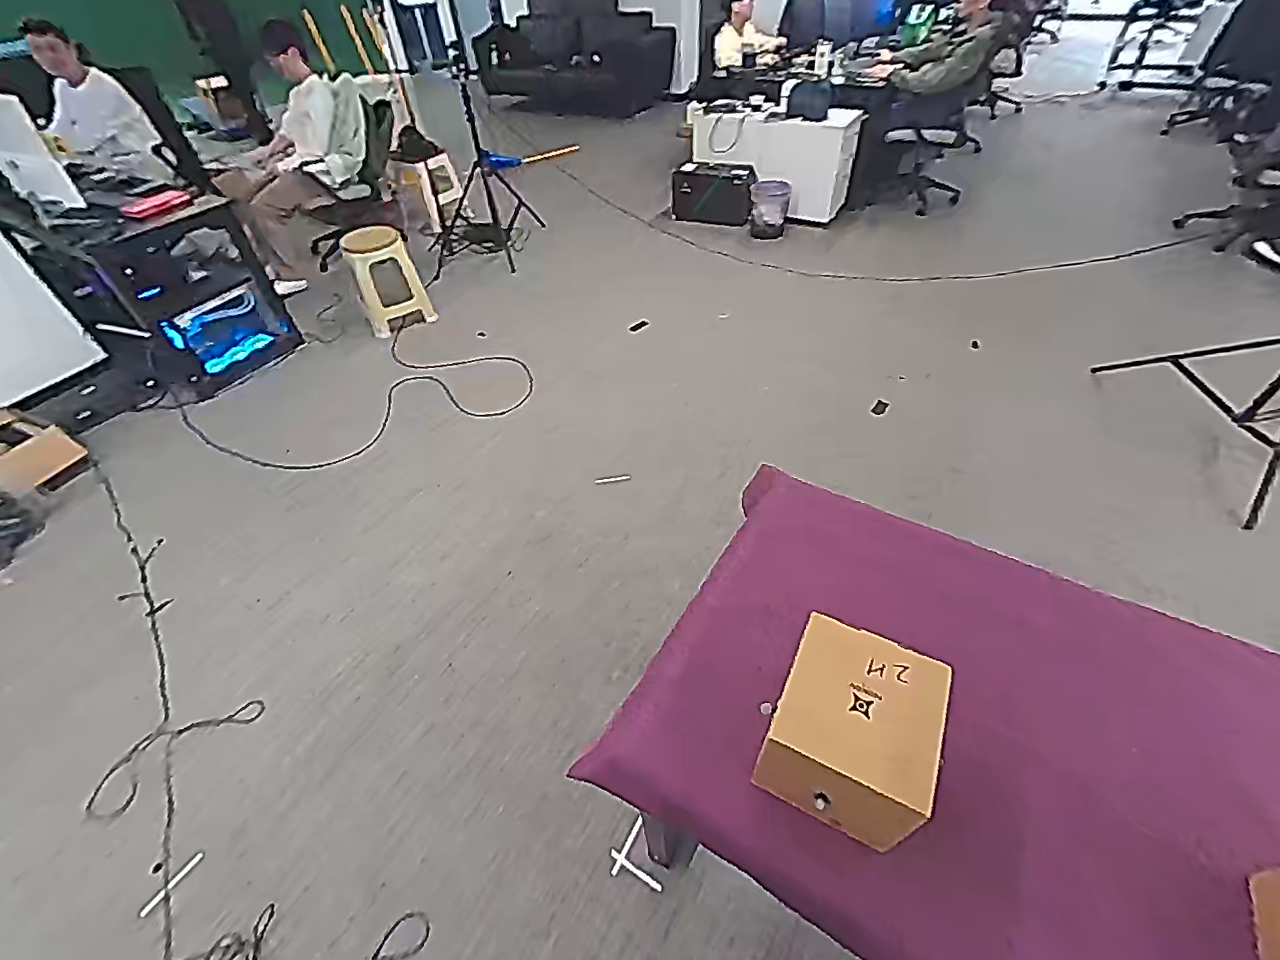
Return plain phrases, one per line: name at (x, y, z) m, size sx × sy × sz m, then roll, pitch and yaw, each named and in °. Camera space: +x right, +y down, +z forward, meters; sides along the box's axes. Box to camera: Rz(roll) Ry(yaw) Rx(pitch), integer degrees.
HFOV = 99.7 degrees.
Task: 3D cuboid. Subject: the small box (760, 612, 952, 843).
small box at (0.254, 0.302, 0.661) m, size 0.168 × 0.176 × 0.179 m, roll 20°, pitch 49°, yaw 21°
